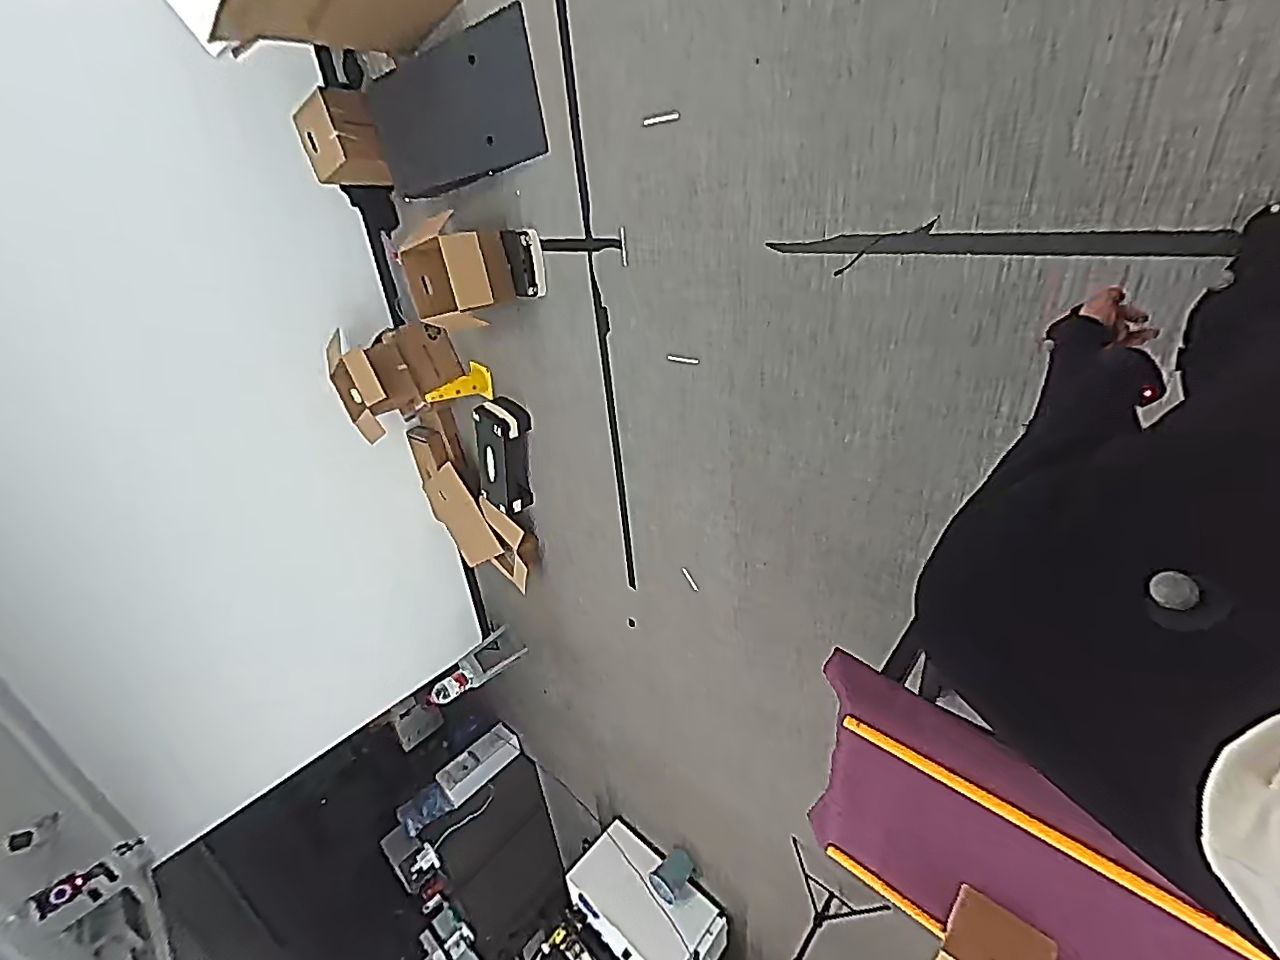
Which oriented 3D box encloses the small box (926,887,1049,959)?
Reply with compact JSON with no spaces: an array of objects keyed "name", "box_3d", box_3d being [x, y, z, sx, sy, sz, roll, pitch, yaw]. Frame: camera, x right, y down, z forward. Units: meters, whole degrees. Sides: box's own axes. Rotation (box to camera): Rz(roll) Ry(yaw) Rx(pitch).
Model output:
[{"name":"small box","box_3d":[0.733,1.020,1.151,0.179,0.176,0.168,21,126,38]}]
